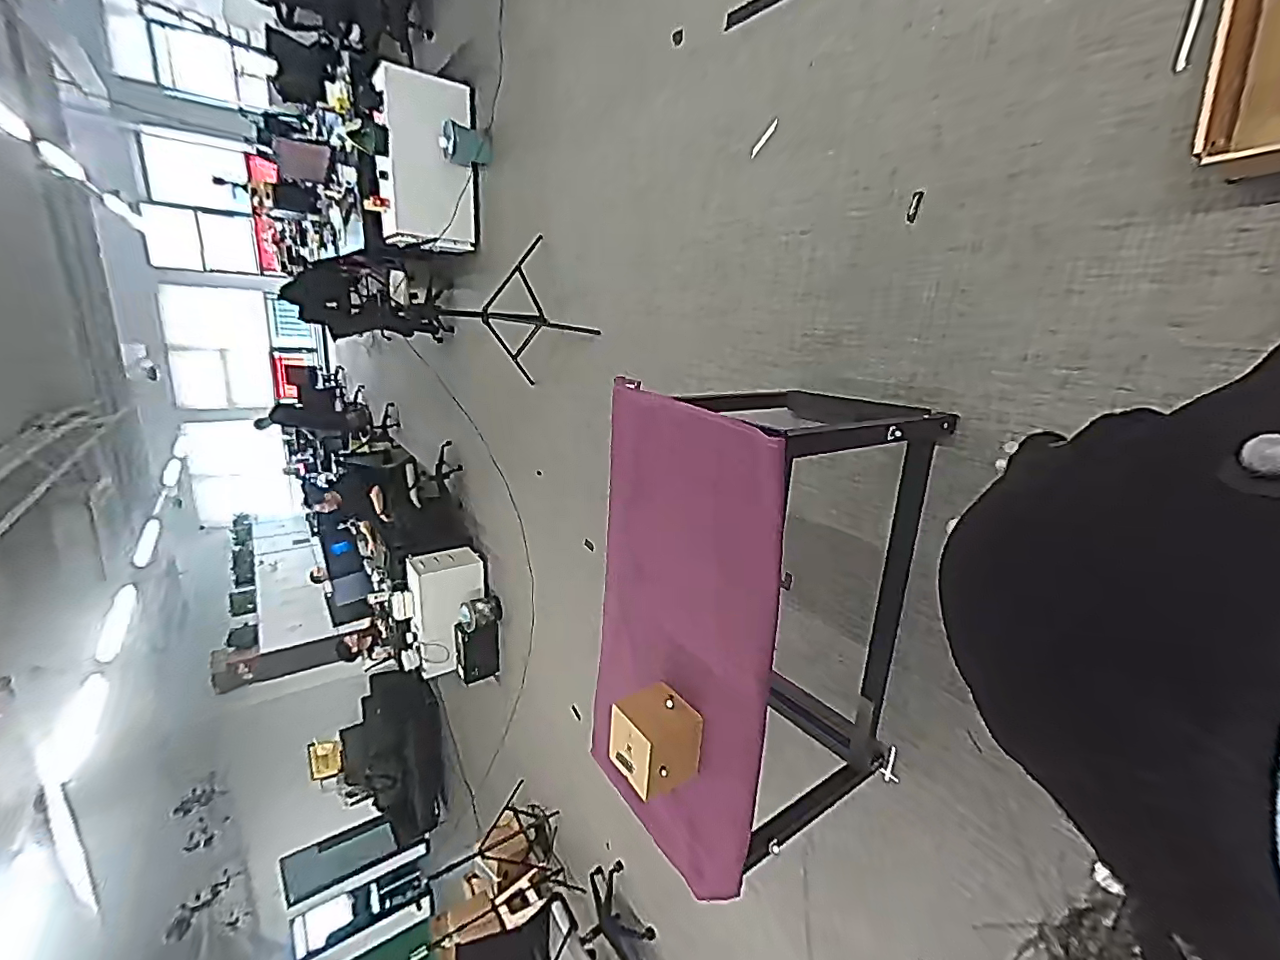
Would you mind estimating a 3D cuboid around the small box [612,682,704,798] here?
[{"bbox_3d":[0.045,0.653,1.379,0.168,0.176,0.179,25,116,50],"label":"small box"}]
